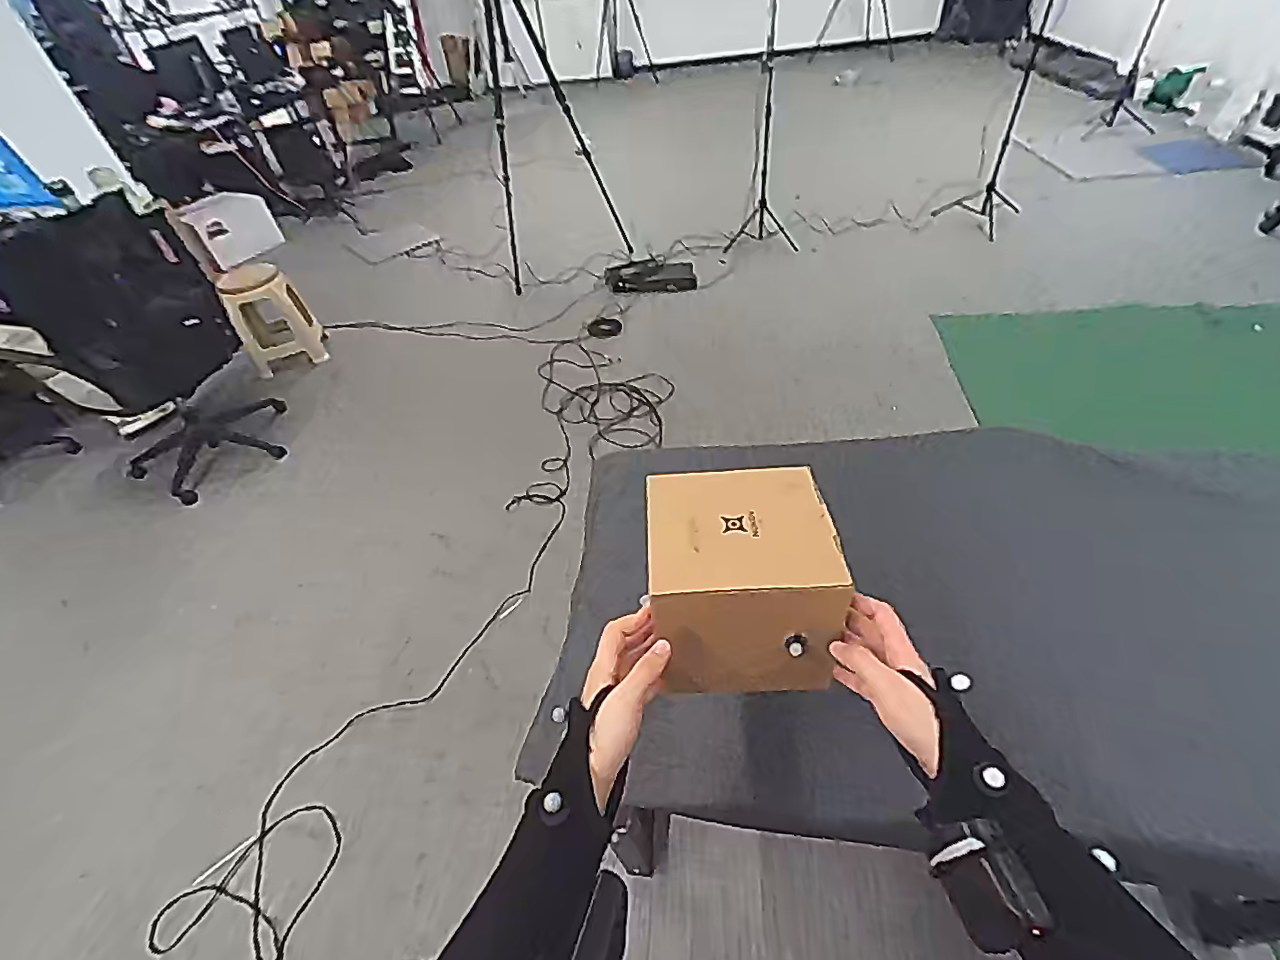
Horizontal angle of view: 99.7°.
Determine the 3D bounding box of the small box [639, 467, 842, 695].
[{"bbox_3d":[0.093,0.107,0.572,0.179,0.176,0.168,-5,39,3],"label":"small box"}]
